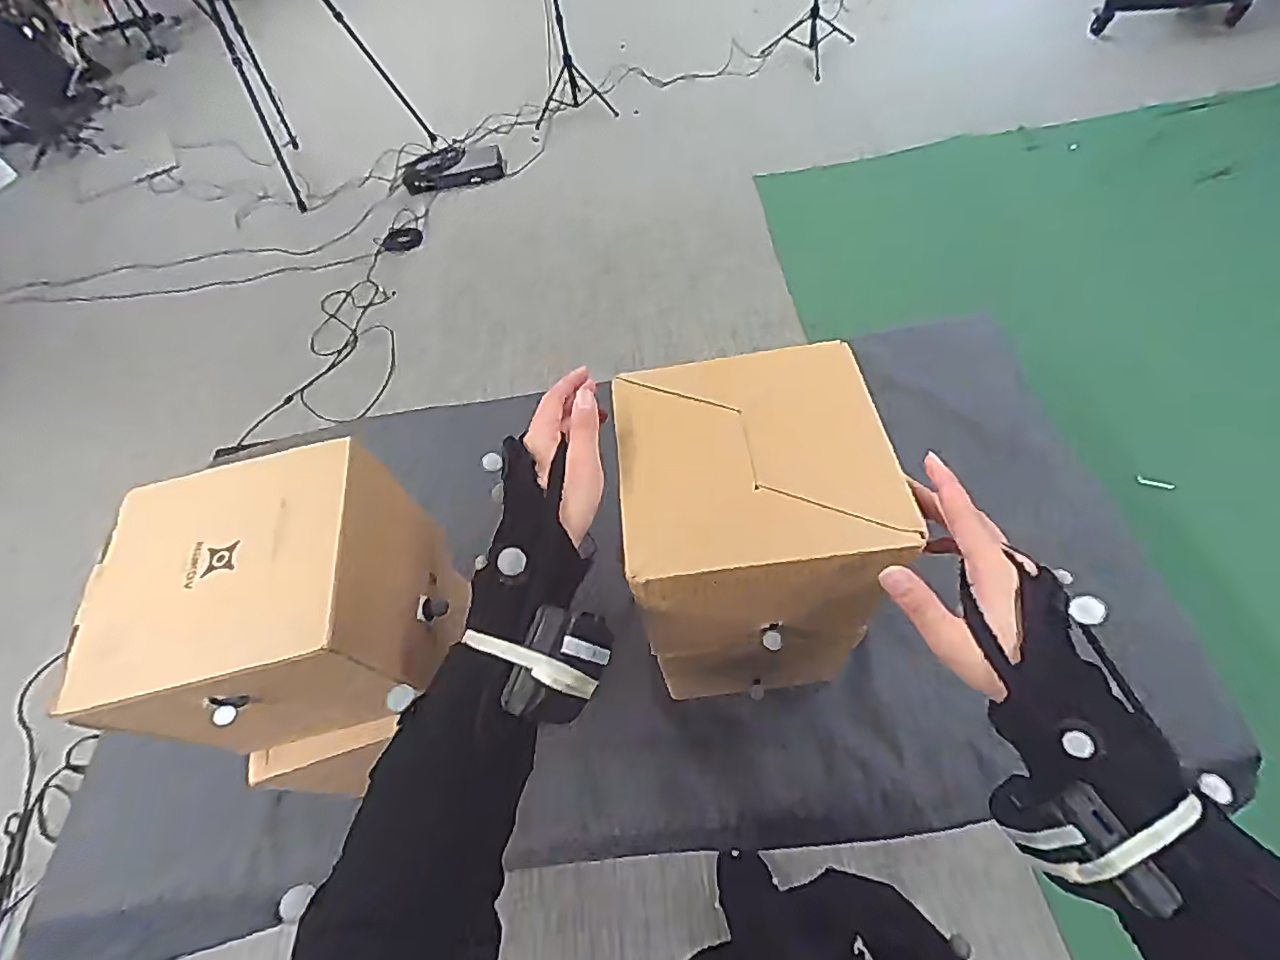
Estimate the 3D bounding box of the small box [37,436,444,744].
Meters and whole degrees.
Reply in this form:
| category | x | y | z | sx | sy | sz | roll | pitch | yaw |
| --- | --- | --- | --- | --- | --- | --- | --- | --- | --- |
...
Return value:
| category | x | y | z | sx | sy | sz | roll | pitch | yaw |
| --- | --- | --- | --- | --- | --- | --- | --- | --- | --- |
| small box | -0.274 | 0.095 | 0.425 | 0.179 | 0.176 | 0.168 | -13 | 58 | -2 |

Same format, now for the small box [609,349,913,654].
| category | x | y | z | sx | sy | sz | roll | pitch | yaw |
| --- | --- | --- | --- | --- | --- | --- | --- | --- | --- |
| small box | 0.075 | 0.021 | 0.416 | 0.179 | 0.176 | 0.168 | -8 | 57 | 4 |

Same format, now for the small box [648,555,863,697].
| category | x | y | z | sx | sy | sz | roll | pitch | yaw |
| --- | --- | --- | --- | --- | --- | --- | --- | --- | --- |
| small box | 0.099 | 0.114 | 0.554 | 0.179 | 0.176 | 0.168 | -8 | 56 | 3 |

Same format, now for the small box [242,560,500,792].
| category | x | y | z | sx | sy | sz | roll | pitch | yaw |
| --- | --- | --- | --- | --- | --- | --- | --- | --- | --- |
| small box | -0.255 | 0.196 | 0.552 | 0.168 | 0.176 | 0.179 | -17 | 57 | -3 |
